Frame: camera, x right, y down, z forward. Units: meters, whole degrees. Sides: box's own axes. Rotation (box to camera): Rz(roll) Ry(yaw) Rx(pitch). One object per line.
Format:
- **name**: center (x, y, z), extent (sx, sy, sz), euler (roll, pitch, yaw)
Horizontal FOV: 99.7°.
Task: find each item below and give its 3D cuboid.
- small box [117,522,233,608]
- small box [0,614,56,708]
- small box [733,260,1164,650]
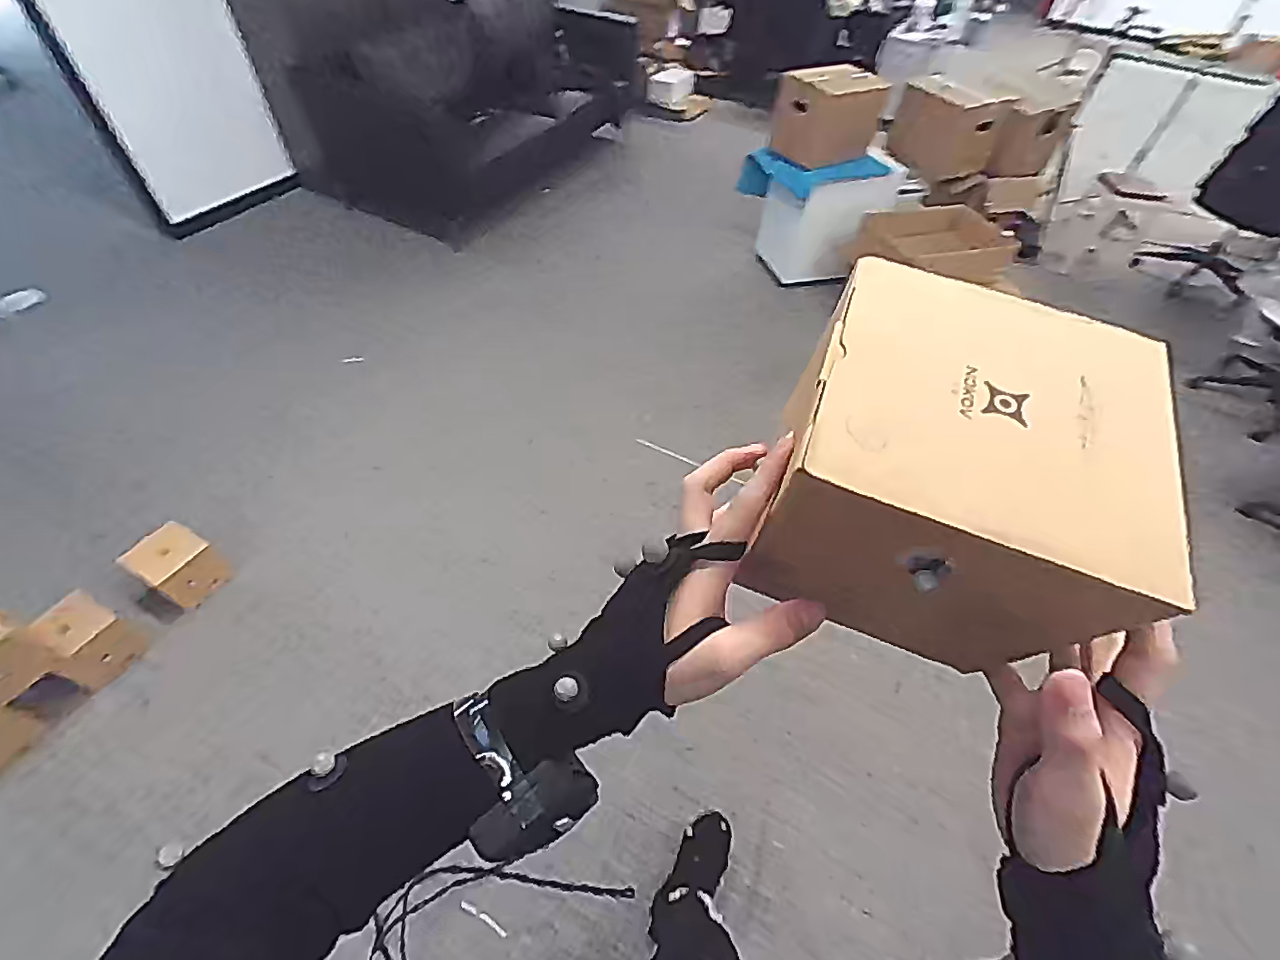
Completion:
- **small box**: center (-1.398, 0.266, 1.640), extent (0.179, 0.176, 0.168), euler (24, 53, 14)
- **small box**: center (-1.561, 0.425, 1.279), extent (0.168, 0.176, 0.179), euler (25, 54, 15)
- **small box**: center (0.174, -0.006, 0.357), extent (0.179, 0.176, 0.168), euler (20, 61, 8)
